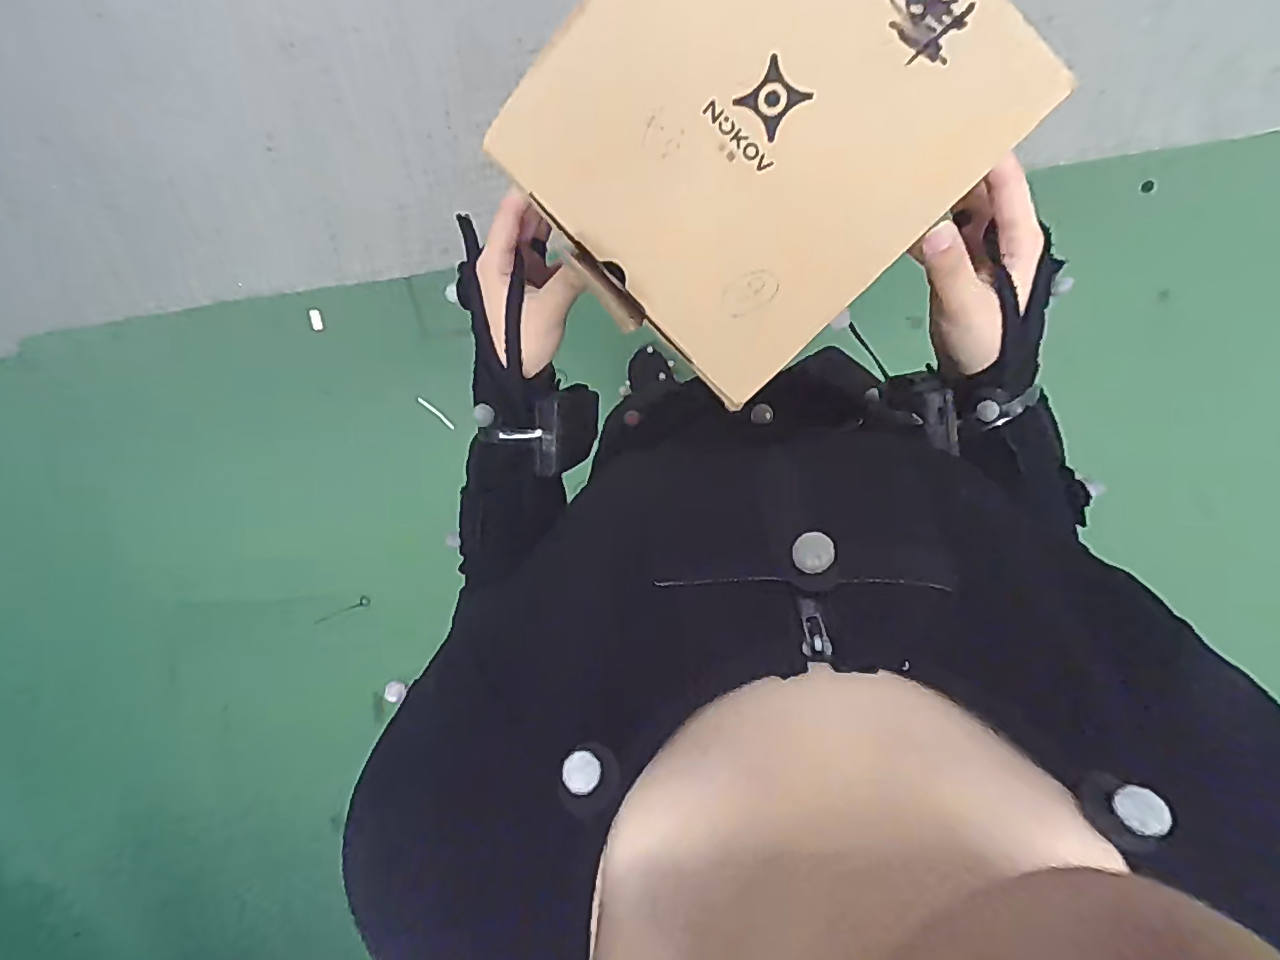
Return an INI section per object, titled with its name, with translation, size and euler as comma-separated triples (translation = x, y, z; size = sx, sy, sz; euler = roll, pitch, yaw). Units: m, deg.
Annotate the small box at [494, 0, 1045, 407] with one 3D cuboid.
[small box]
translation = 0.059, -0.163, 0.308
size = 0.168, 0.176, 0.179
euler = 45, 105, -3
